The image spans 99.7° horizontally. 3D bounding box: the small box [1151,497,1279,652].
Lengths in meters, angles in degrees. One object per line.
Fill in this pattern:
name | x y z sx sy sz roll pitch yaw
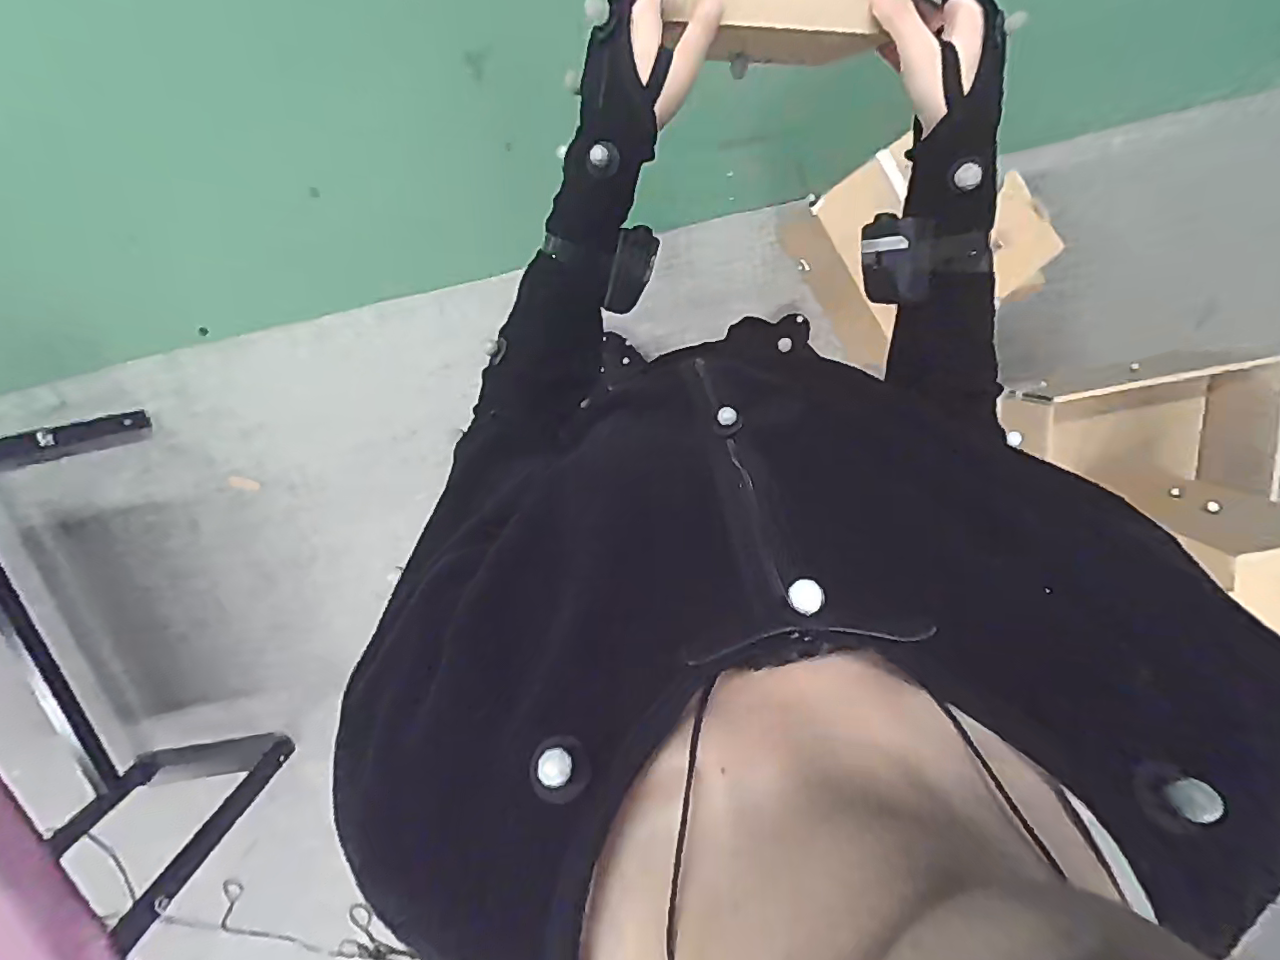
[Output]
small box | 0.965 0.142 0.855 0.179 0.176 0.168 -14 105 6
